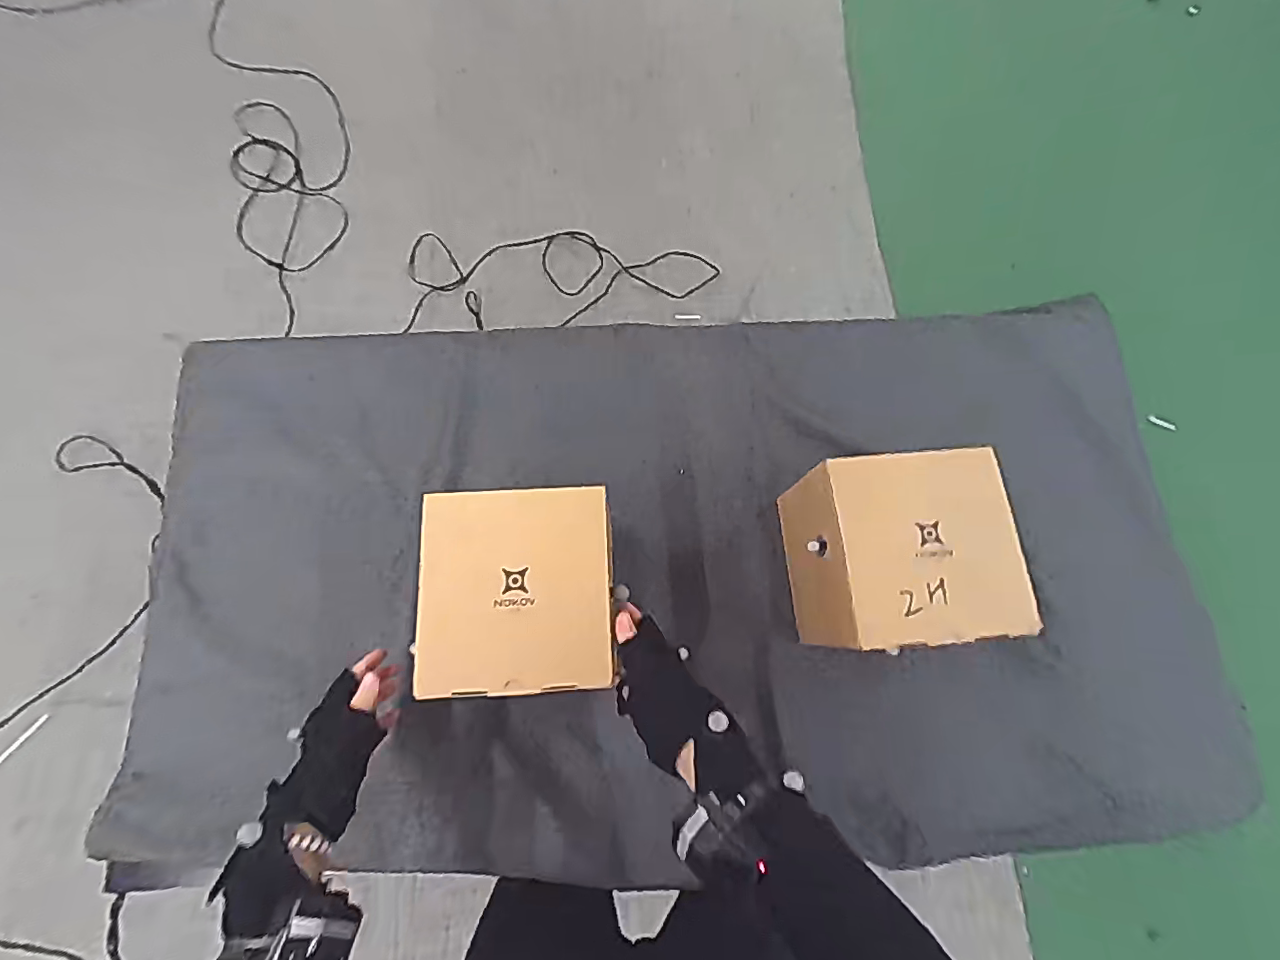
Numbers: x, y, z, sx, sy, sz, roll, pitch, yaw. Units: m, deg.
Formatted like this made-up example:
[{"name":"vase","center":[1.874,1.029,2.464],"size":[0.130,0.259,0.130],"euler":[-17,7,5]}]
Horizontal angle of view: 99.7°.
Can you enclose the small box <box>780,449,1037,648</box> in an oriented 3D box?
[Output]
[{"name":"small box","center":[0.257,0.079,0.567],"size":[0.168,0.176,0.179],"euler":[-4,75,-3]}]

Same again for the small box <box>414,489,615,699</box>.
[{"name":"small box","center":[-0.112,0.115,0.546],"size":[0.168,0.176,0.179],"euler":[-2,76,-4]}]
